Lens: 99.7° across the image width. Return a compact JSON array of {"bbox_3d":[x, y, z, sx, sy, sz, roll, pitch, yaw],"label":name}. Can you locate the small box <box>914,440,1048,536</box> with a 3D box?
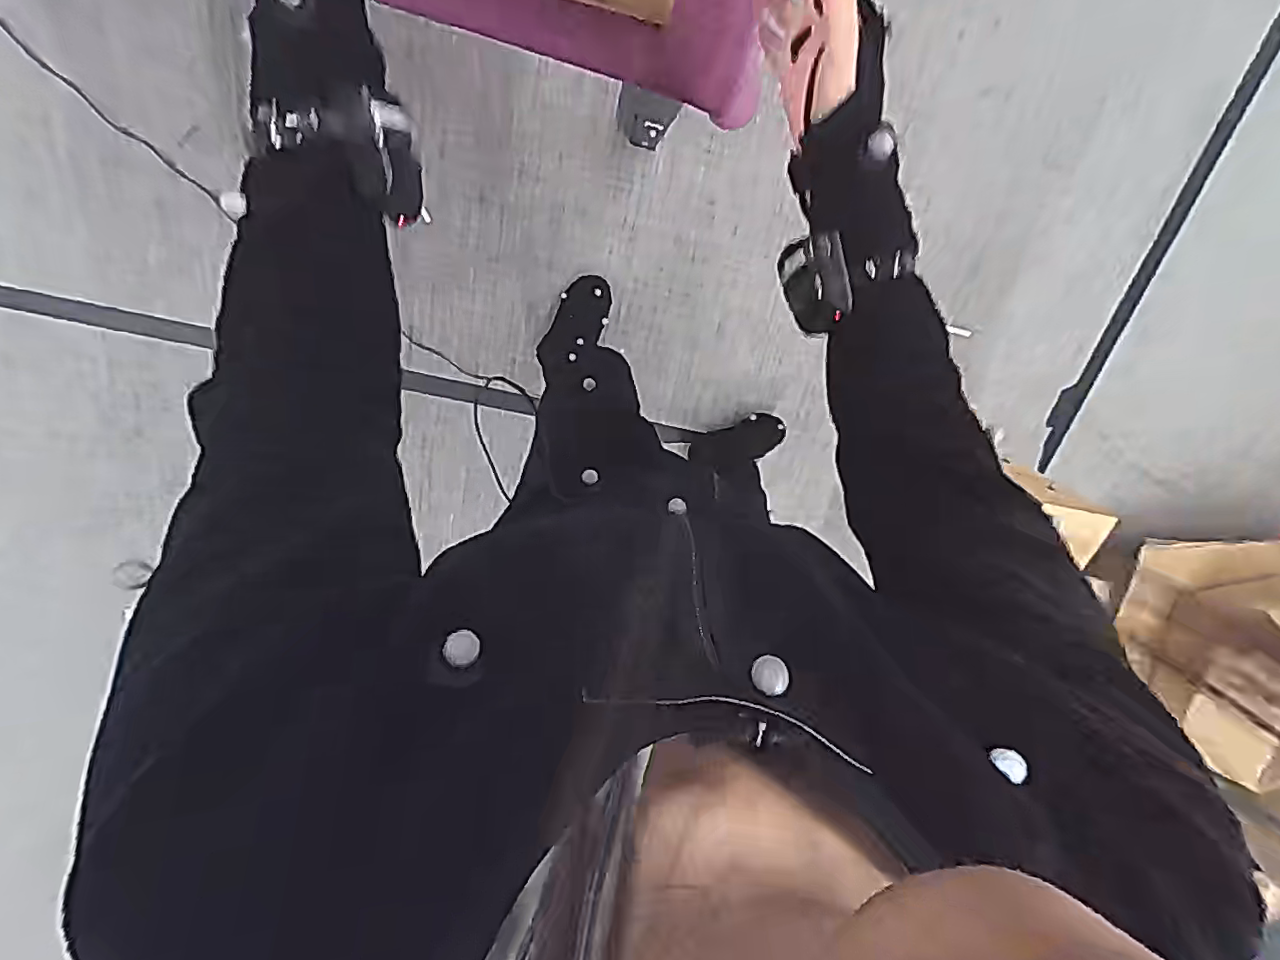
[{"bbox_3d":[0.778,0.024,1.256,0.168,0.176,0.179,10,116,-9],"label":"small box"}]

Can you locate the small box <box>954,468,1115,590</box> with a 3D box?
[{"bbox_3d":[0.790,0.095,1.108,0.168,0.176,0.179,11,116,-9],"label":"small box"}]
